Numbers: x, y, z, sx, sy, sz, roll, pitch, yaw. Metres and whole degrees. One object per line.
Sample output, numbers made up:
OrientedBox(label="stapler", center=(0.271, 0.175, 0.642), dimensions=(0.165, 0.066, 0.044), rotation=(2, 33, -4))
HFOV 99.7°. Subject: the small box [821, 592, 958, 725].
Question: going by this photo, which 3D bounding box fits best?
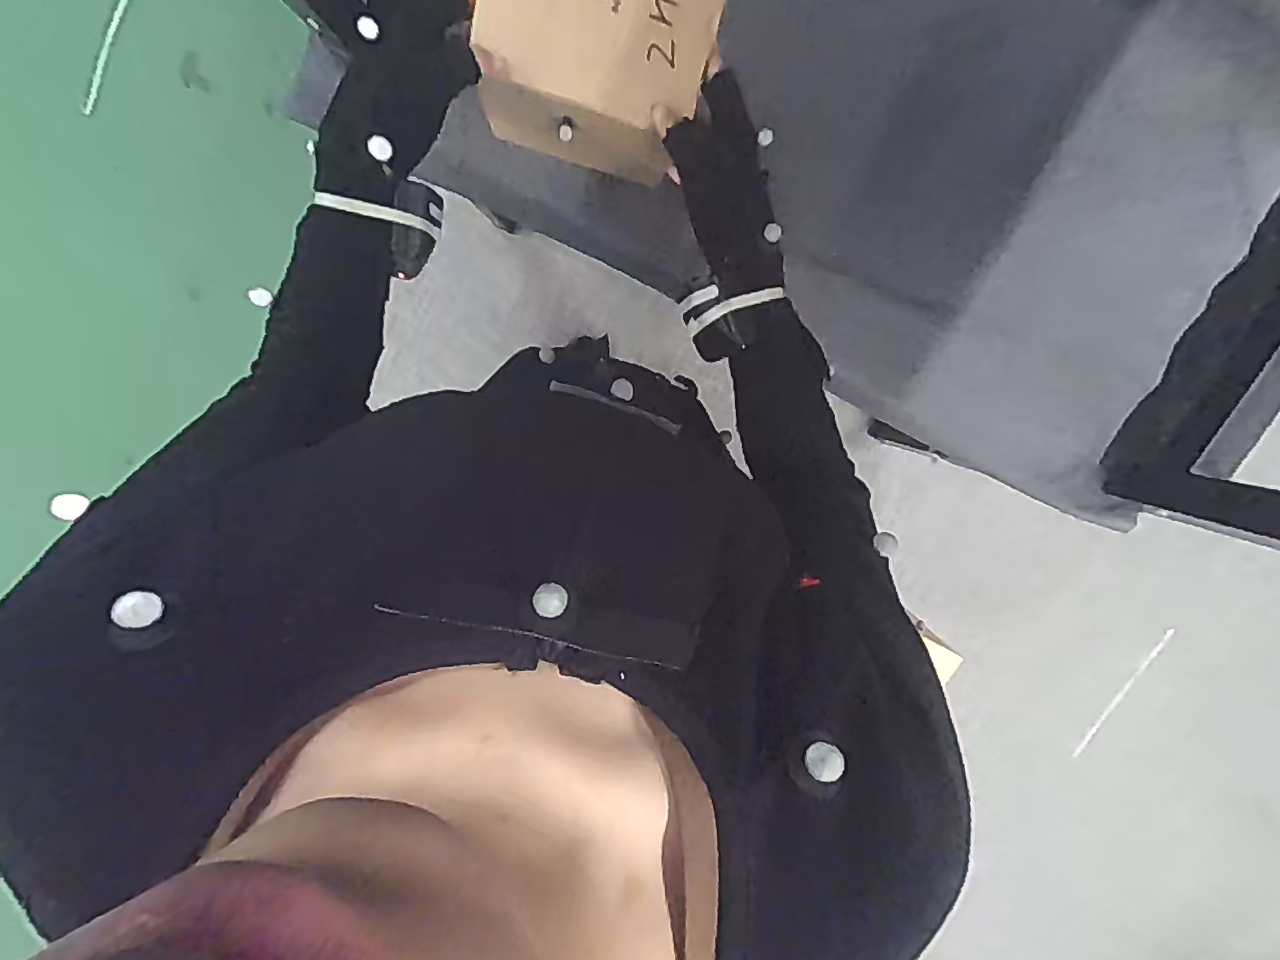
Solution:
OrientedBox(label="small box", center=(0.508, 0.363, 1.135), dimensions=(0.168, 0.176, 0.179), rotation=(28, 100, -5))
